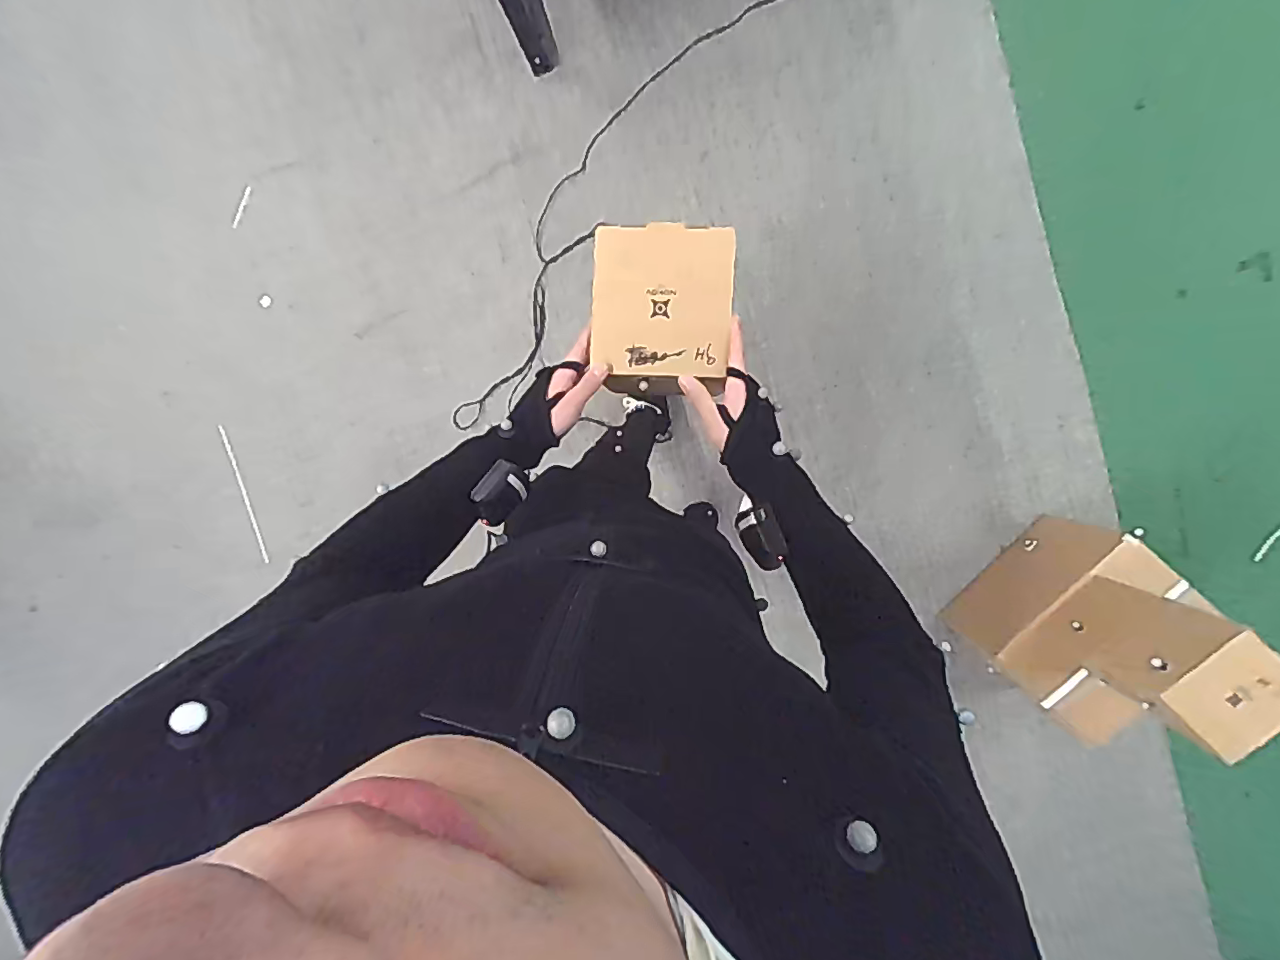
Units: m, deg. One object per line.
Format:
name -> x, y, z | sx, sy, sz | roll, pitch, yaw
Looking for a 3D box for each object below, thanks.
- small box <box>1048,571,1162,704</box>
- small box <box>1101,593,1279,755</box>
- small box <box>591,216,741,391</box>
small box -> 1.007, 0.319, 1.129 | 0.168, 0.176, 0.179 | 43, 99, 1
small box -> 0.986, 0.335, 0.967 | 0.168, 0.176, 0.179 | 45, 99, 0
small box -> 0.036, -0.217, 0.702 | 0.168, 0.176, 0.179 | 3, 93, 6
